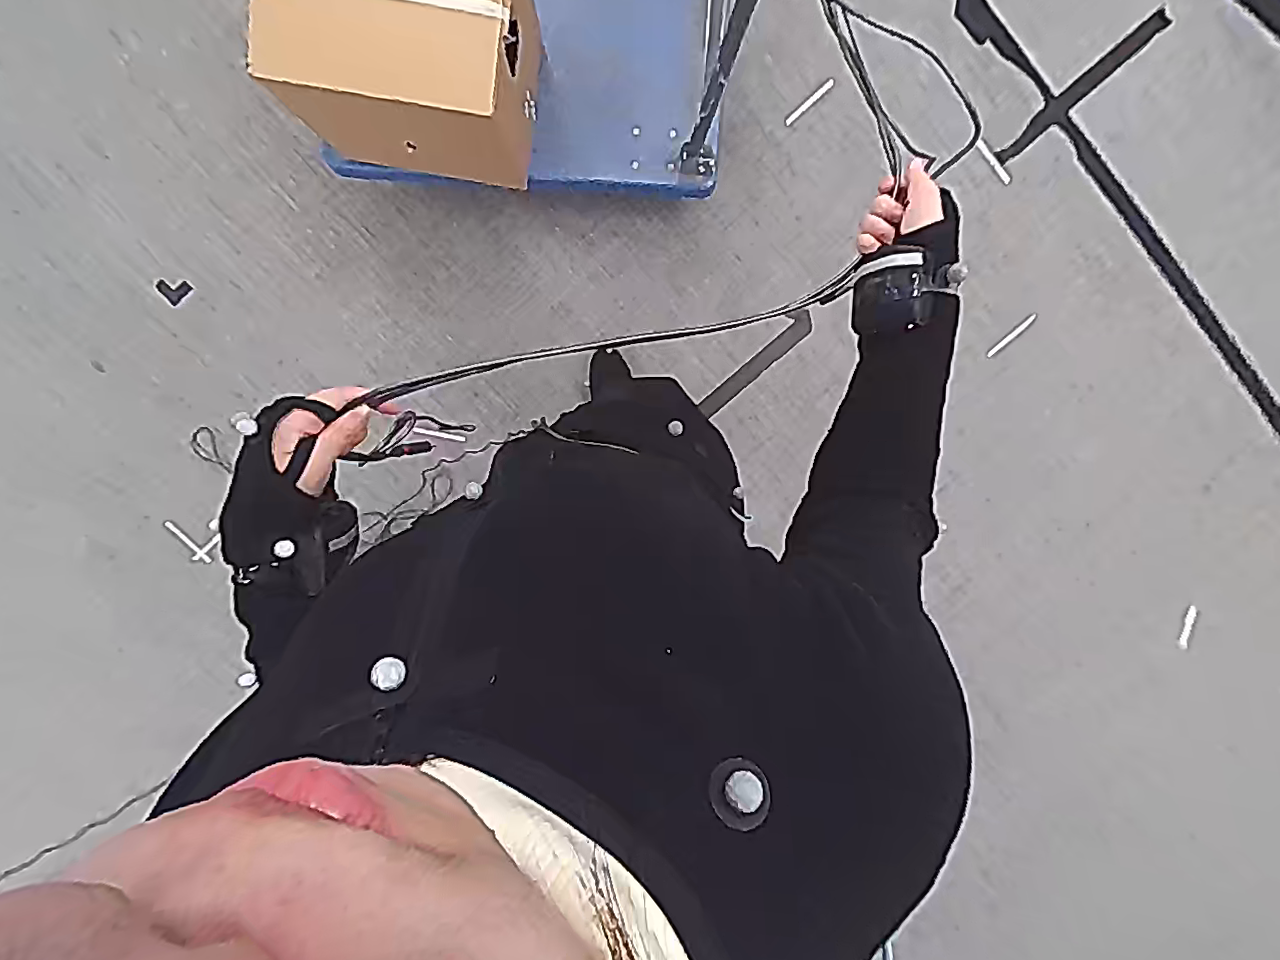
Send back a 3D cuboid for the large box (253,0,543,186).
[{"bbox_3d":[-0.417,-0.794,1.015,0.408,0.320,0.320,8,97,-2],"label":"large box"}]
